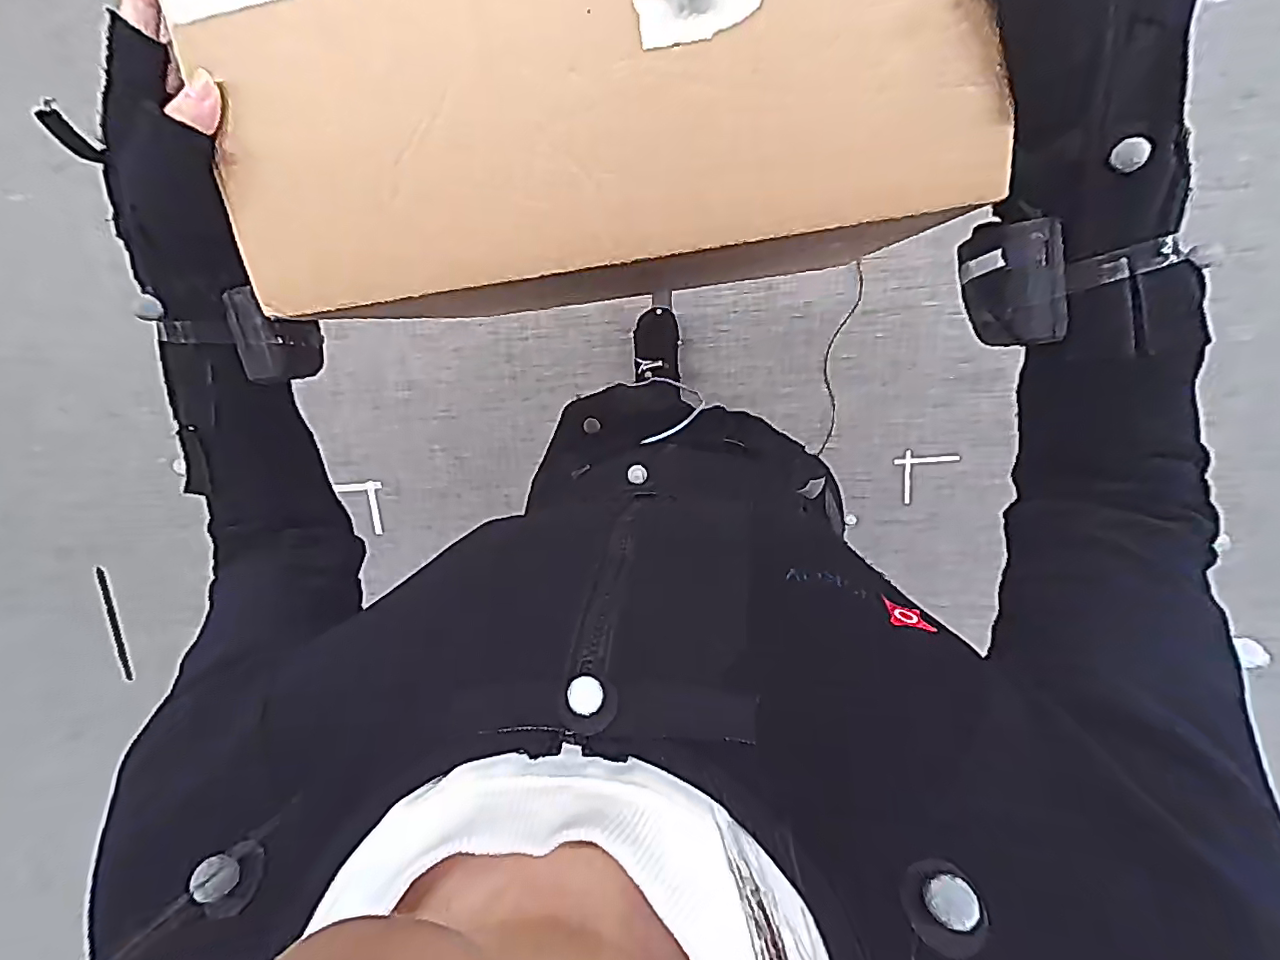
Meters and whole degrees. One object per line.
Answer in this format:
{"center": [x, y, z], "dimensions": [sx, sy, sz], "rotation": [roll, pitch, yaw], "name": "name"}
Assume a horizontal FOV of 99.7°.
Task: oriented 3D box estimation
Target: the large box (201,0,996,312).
{"center": [-0.025, -0.316, 0.402], "dimensions": [0.408, 0.320, 0.320], "rotation": [-6, 106, 9], "name": "large box"}
